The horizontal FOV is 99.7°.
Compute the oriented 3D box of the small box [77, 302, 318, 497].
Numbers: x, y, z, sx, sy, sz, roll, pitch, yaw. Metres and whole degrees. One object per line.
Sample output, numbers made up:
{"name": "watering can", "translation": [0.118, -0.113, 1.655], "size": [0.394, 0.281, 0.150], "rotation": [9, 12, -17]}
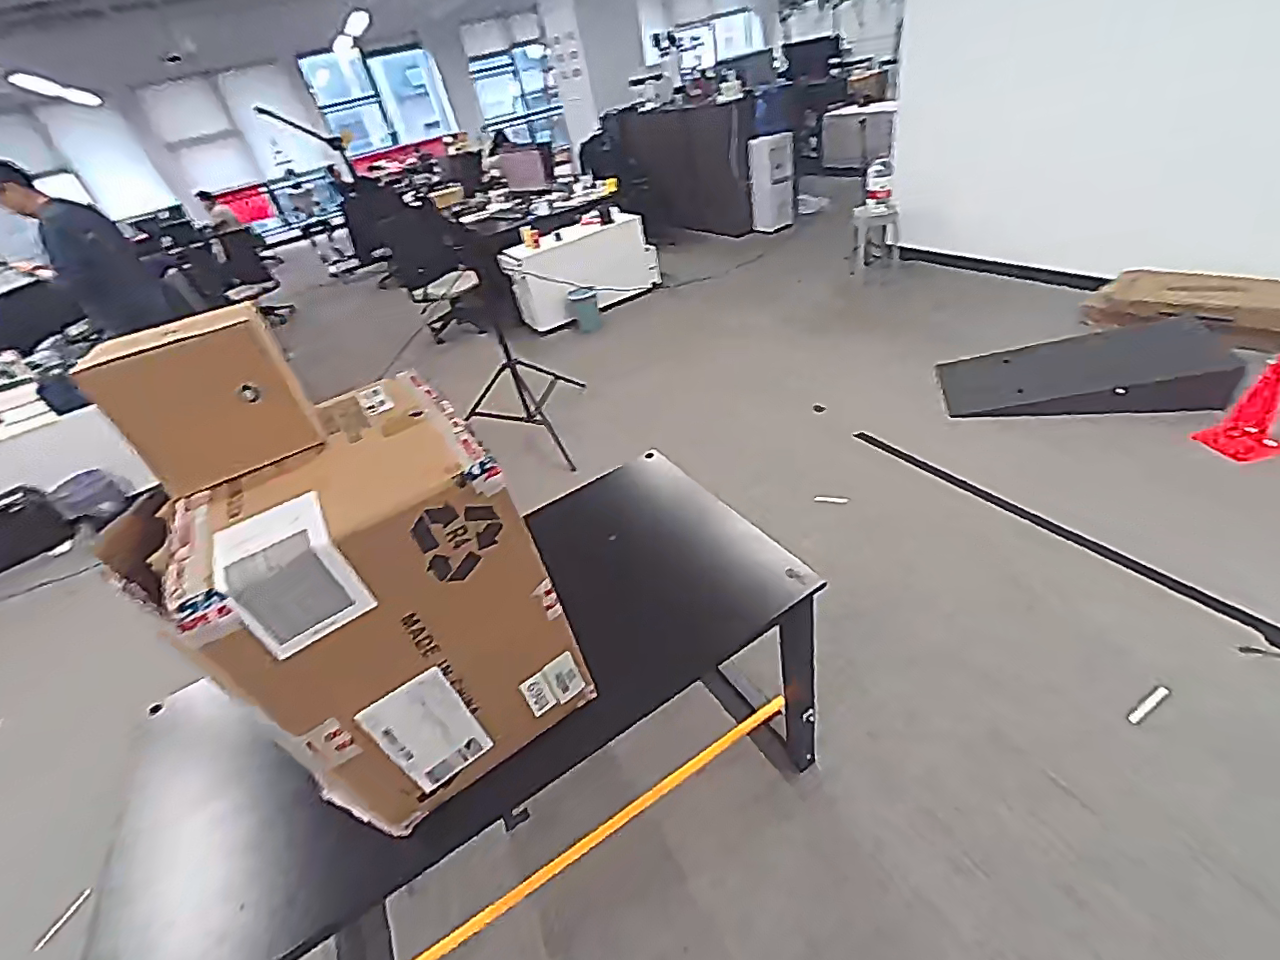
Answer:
{"name": "small box", "translation": [-0.540, -0.108, 0.694], "size": [0.179, 0.176, 0.168], "rotation": [-29, 36, -21]}
